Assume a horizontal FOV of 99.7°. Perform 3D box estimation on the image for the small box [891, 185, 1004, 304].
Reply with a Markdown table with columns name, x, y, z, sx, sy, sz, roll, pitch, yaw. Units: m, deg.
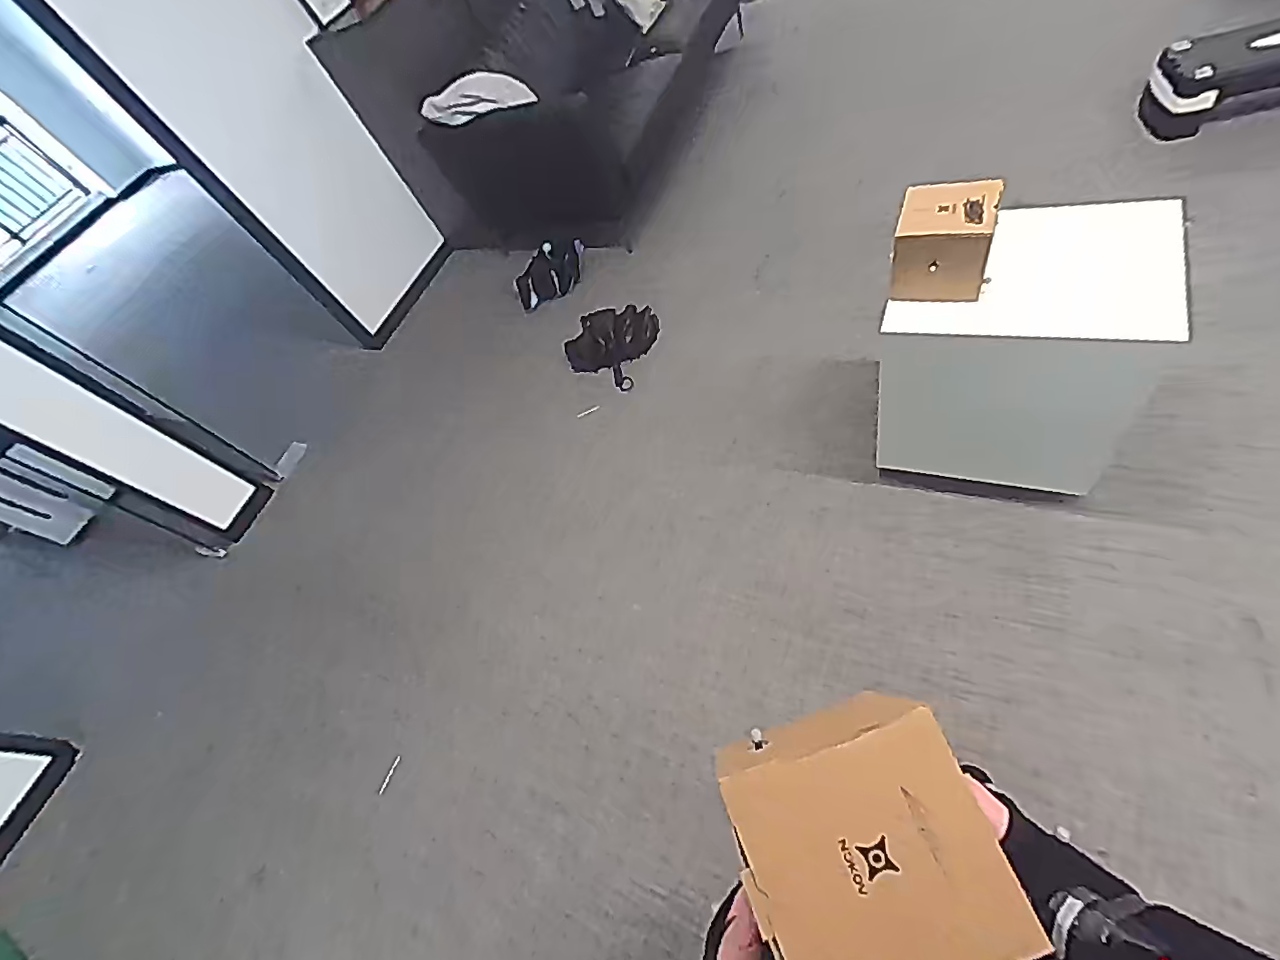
| name | x | y | z | sx | sy | sz | roll | pitch | yaw |
| --- | --- | --- | --- | --- | --- | --- | --- | --- | --- |
| small box | 0.646 | -0.493 | 1.149 | 0.179 | 0.176 | 0.168 | 11 | 63 | 28 |
